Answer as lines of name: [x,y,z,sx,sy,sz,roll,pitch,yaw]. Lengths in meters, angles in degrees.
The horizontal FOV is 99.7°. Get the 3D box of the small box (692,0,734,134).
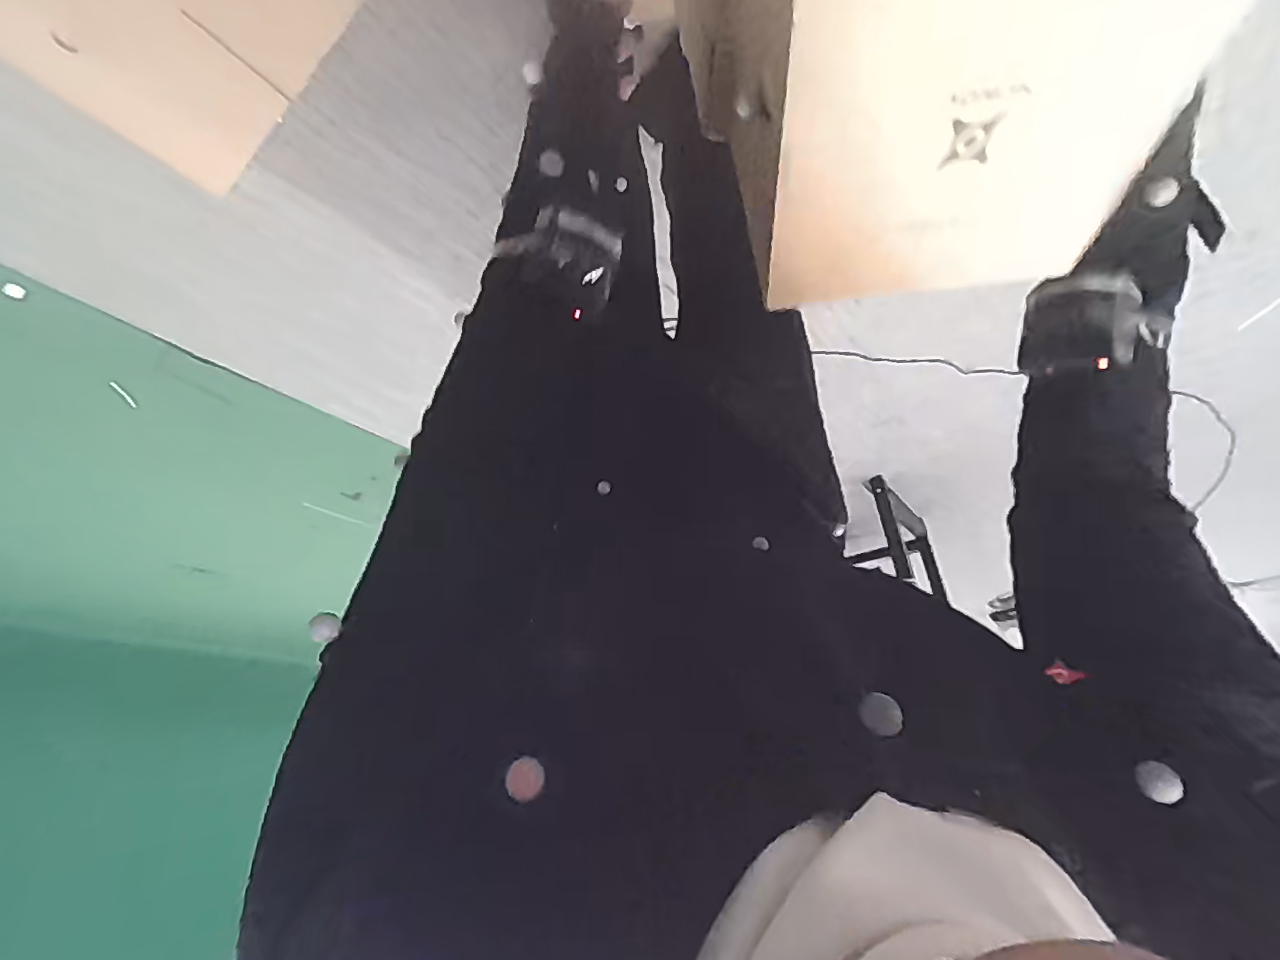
small box: [0.128,-0.362,0.358,0.179,0.176,0.168,-4,148,2]

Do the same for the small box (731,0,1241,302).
small box: [0.137,-0.222,0.270,0.168,0.176,0.179,-5,150,6]

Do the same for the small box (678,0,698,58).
small box: [0.116,-0.495,0.450,0.168,0.176,0.179,-3,150,1]
